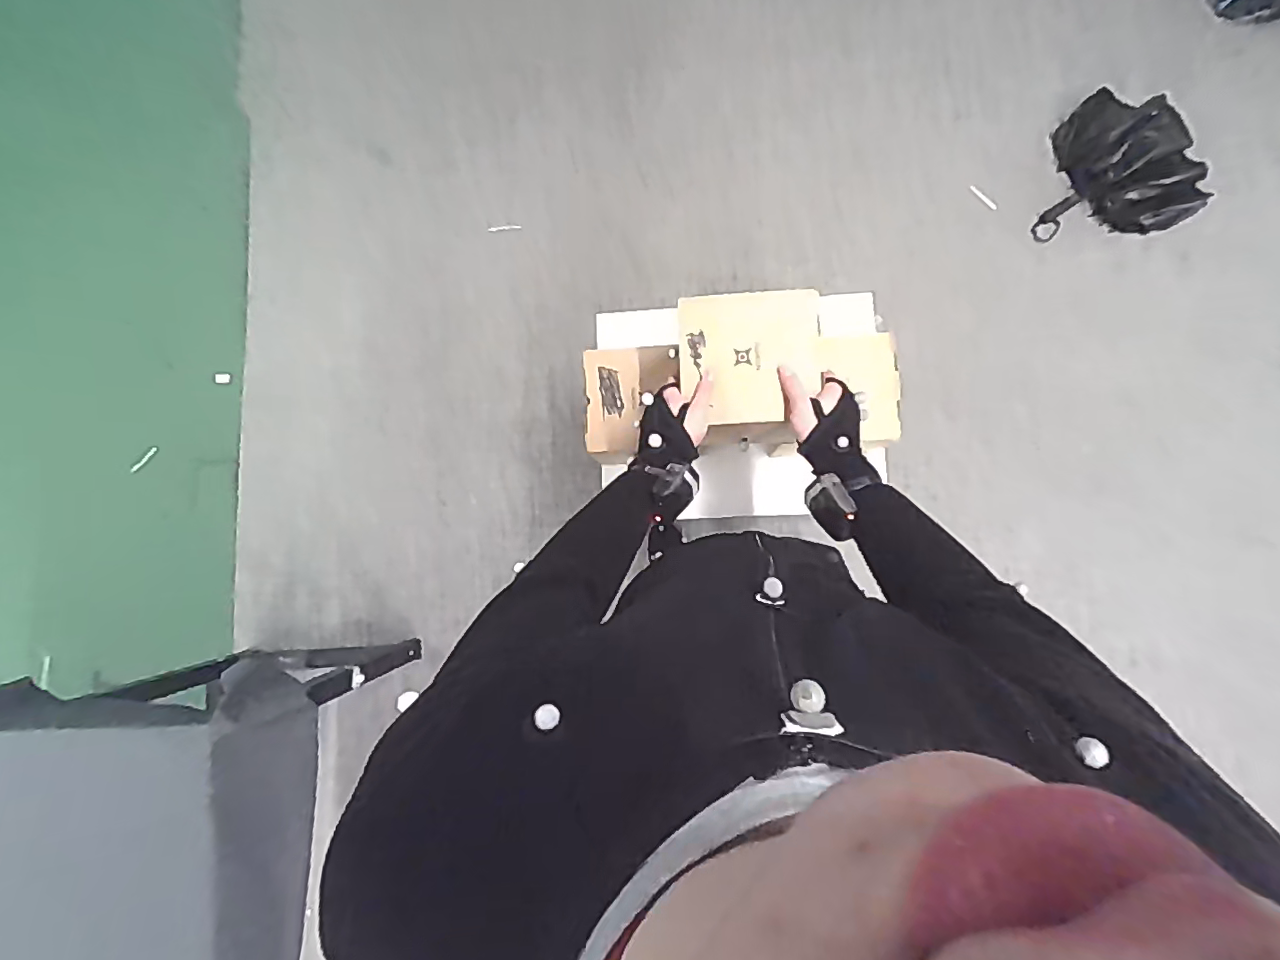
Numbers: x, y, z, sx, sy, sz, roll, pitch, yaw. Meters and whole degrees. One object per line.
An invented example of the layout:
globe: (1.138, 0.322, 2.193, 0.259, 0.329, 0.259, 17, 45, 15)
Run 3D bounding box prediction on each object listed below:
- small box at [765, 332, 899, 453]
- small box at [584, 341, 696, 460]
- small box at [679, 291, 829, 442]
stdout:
small box: (0.304, -0.136, 0.891, 0.179, 0.176, 0.168, -1, 86, 6)
small box: (0.006, -0.126, 0.913, 0.179, 0.176, 0.168, -3, 86, 2)
small box: (0.145, -0.145, 0.742, 0.179, 0.176, 0.168, -2, 86, 4)
